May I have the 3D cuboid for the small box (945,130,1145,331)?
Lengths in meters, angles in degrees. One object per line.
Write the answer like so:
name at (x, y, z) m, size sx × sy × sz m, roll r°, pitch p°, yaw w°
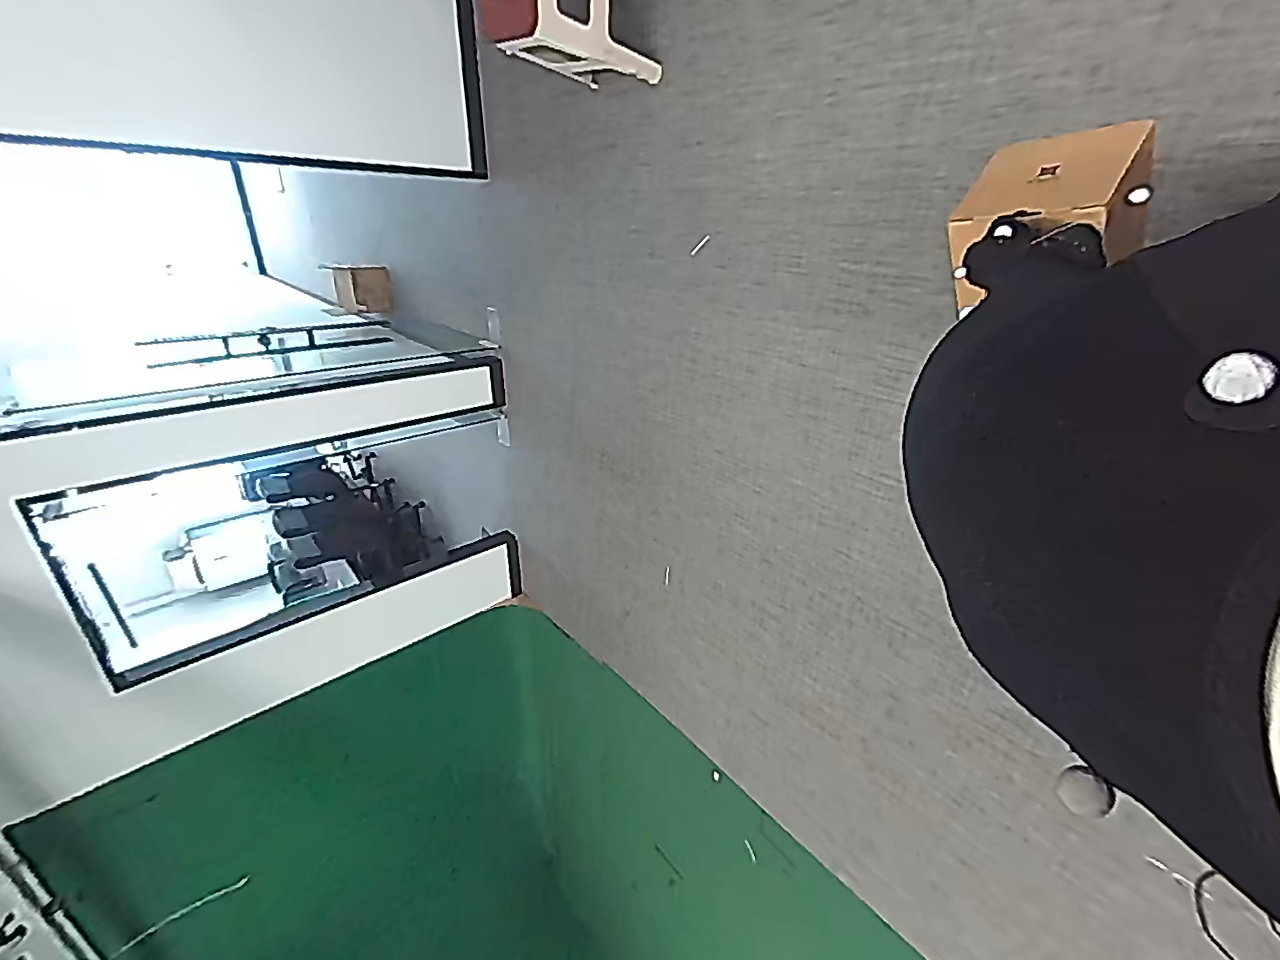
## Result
small box at (0.542, -0.328, 0.733) m, size 0.168 × 0.179 × 0.176 m, roll 19°, pitch 154°, yaw 46°
